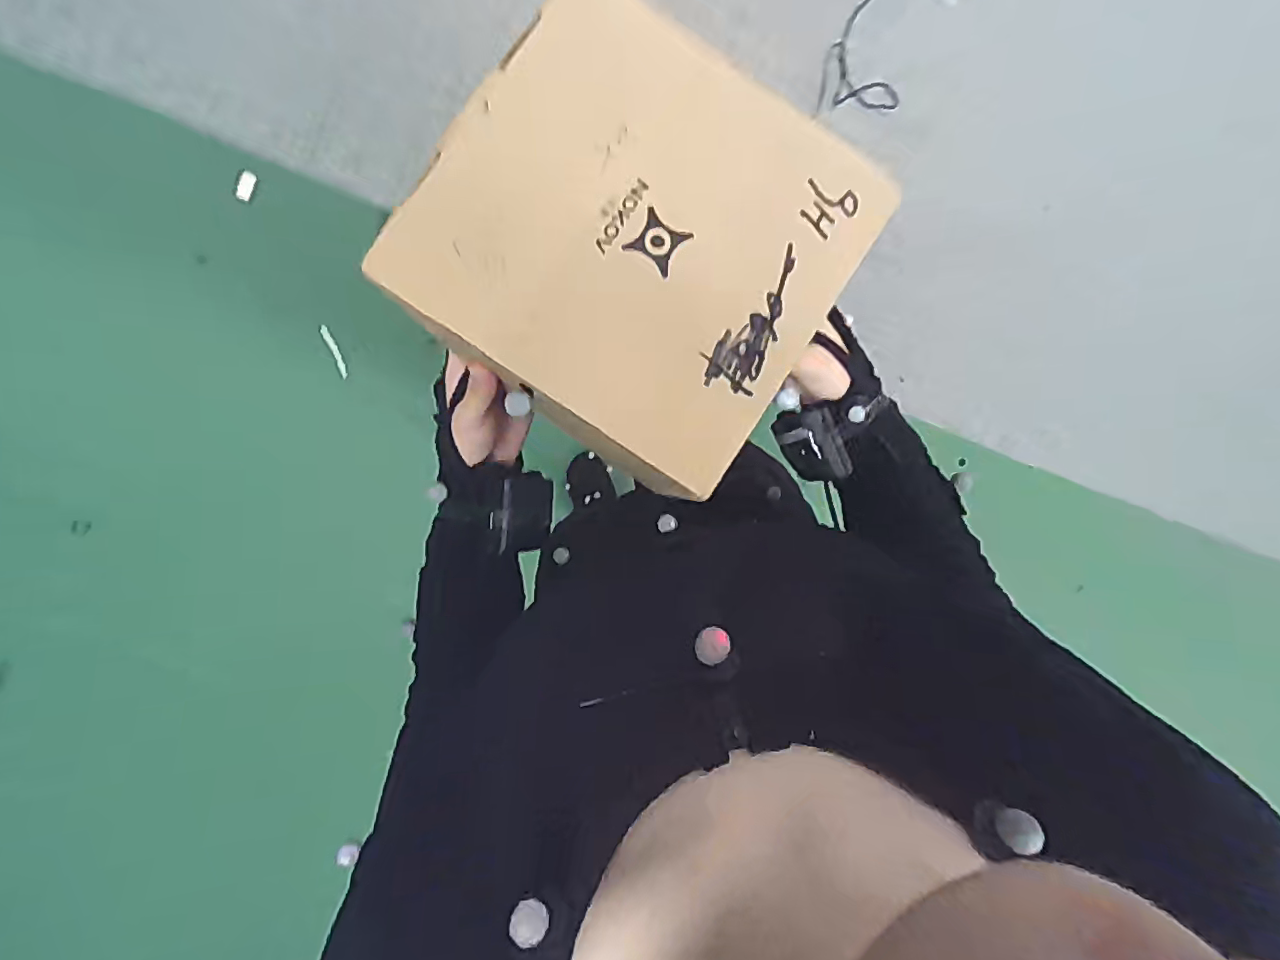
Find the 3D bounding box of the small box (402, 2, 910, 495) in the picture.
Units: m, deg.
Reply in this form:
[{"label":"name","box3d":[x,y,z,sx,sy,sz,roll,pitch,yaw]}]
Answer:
[{"label":"small box","box3d":[0.006,-0.101,0.322,0.179,0.176,0.168,34,87,-2]}]
